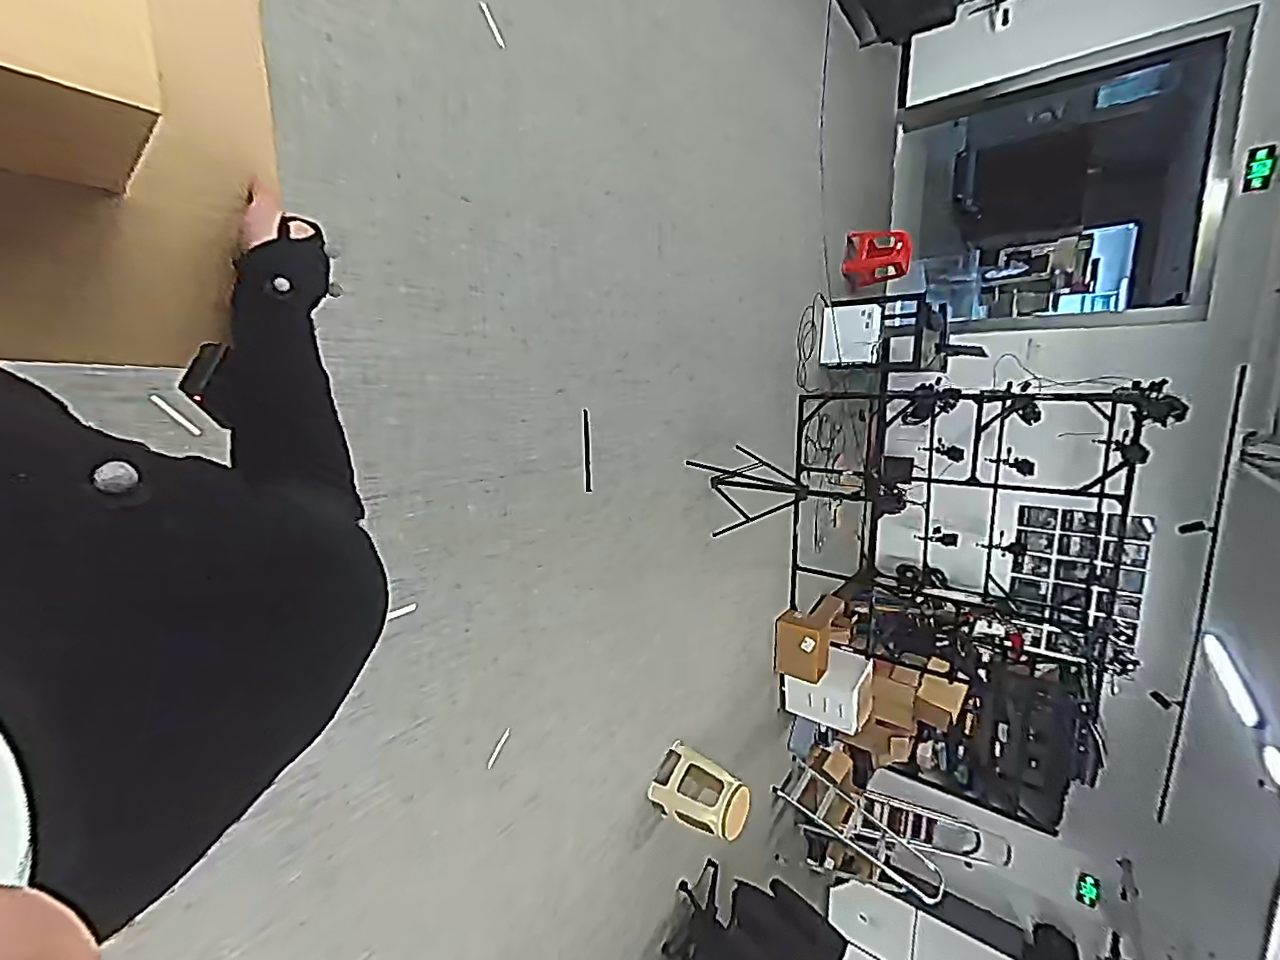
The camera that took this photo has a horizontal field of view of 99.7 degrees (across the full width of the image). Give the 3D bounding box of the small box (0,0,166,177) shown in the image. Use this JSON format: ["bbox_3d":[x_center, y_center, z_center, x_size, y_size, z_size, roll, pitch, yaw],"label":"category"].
[{"bbox_3d":[-0.443,-0.320,0.346,0.179,0.176,0.168,-11,100,-49],"label":"small box"}]
